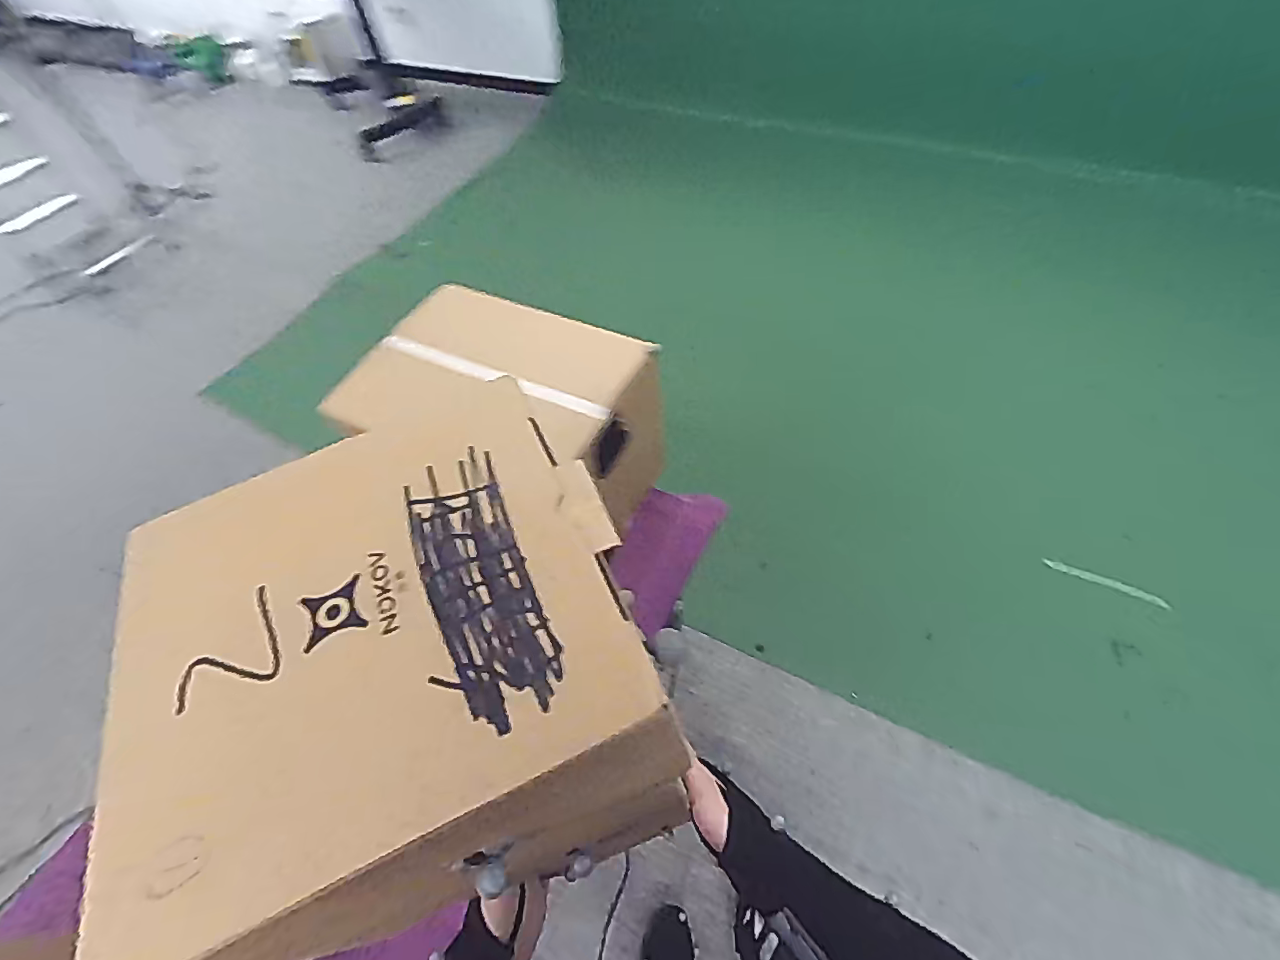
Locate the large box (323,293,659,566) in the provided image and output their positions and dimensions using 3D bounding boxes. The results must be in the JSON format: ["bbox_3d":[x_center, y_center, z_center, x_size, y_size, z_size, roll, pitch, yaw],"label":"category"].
[{"bbox_3d":[-0.213,-0.061,0.924,0.408,0.320,0.320,21,61,17],"label":"large box"}]

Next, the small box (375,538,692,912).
[{"bbox_3d":[-0.070,0.177,0.398,0.168,0.176,0.179,-21,56,-6],"label":"small box"}]

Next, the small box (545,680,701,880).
[{"bbox_3d":[-0.033,0.365,0.666,0.179,0.176,0.168,-20,56,-7],"label":"small box"}]
